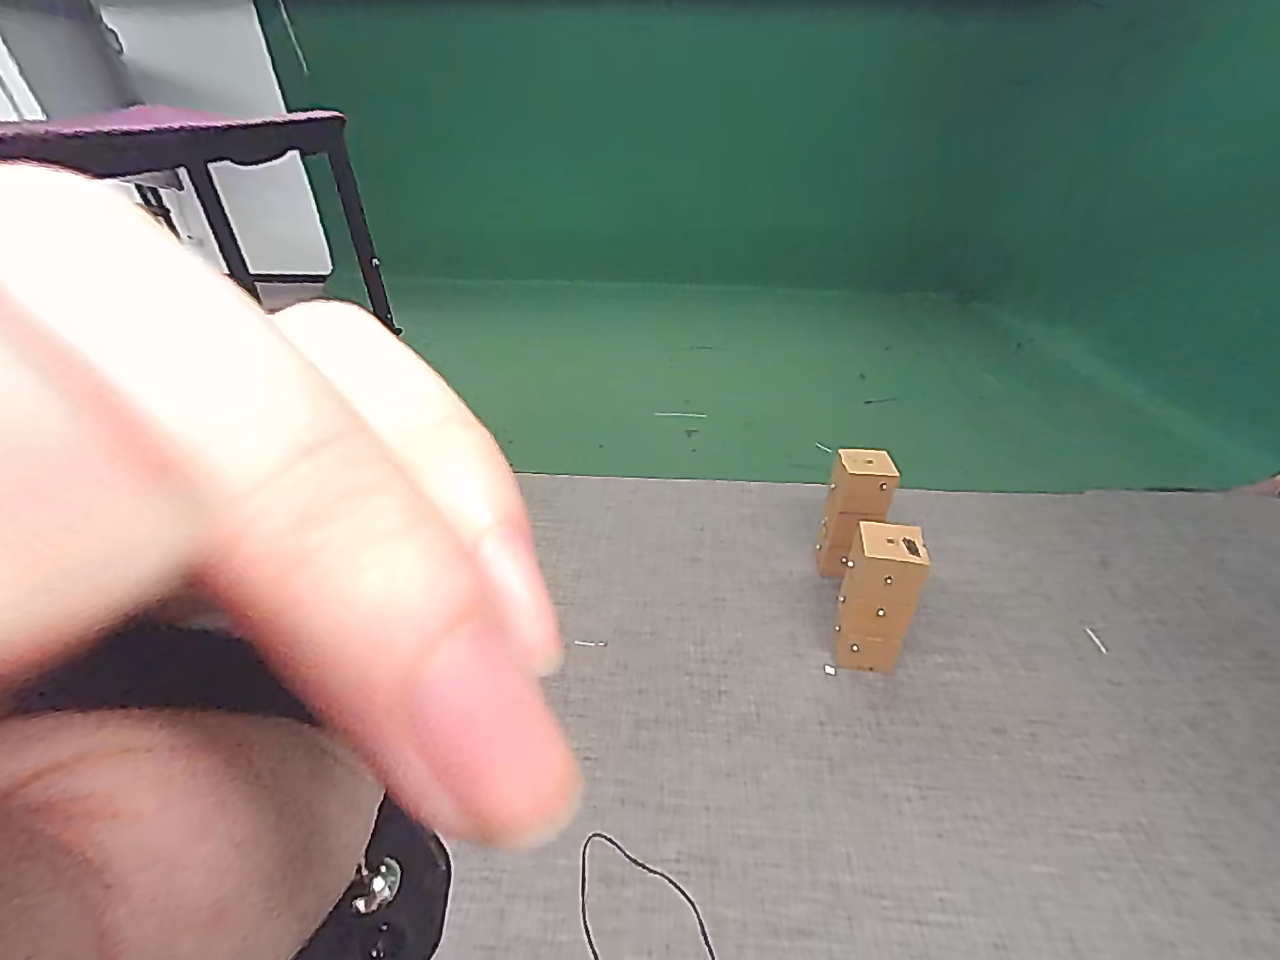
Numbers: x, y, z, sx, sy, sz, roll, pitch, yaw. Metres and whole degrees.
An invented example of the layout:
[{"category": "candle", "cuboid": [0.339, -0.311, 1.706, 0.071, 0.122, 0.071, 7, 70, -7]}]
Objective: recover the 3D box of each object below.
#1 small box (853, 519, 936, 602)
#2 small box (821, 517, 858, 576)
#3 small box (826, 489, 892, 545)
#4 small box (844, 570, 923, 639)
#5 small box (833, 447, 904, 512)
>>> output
[{"category": "small box", "cuboid": [0.742, 0.239, 1.595, 0.179, 0.176, 0.168, 6, 36, 12]}, {"category": "small box", "cuboid": [0.817, 0.264, 2.123, 0.179, 0.176, 0.168, 4, 36, 7]}, {"category": "small box", "cuboid": [0.814, 0.133, 2.026, 0.179, 0.176, 0.168, 1, 34, 5]}, {"category": "small box", "cuboid": [0.753, 0.374, 1.689, 0.179, 0.176, 0.168, 6, 36, 10]}, {"category": "small box", "cuboid": [0.809, -0.001, 1.930, 0.179, 0.176, 0.168, 2, 34, 4]}]
